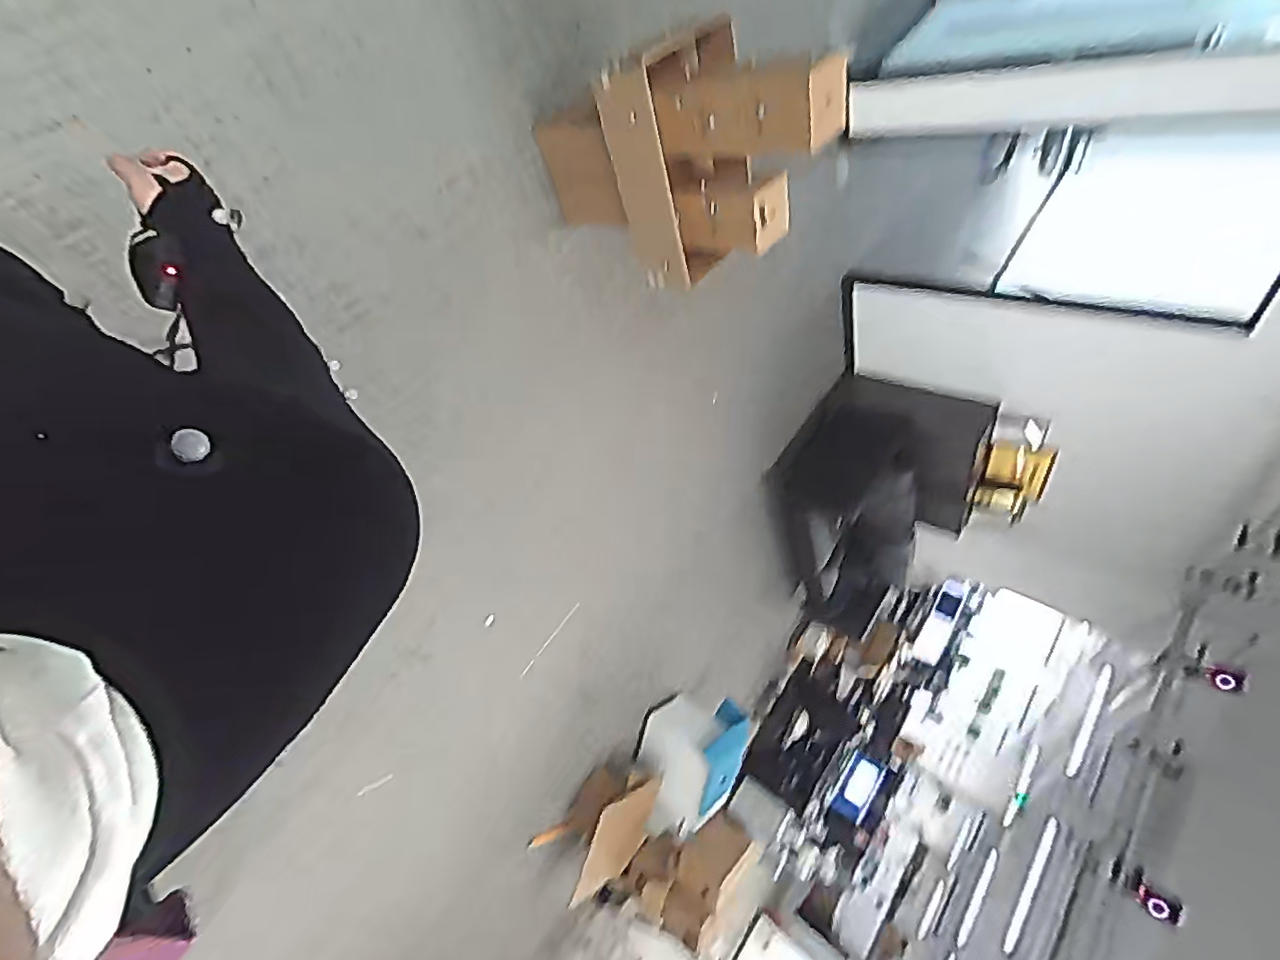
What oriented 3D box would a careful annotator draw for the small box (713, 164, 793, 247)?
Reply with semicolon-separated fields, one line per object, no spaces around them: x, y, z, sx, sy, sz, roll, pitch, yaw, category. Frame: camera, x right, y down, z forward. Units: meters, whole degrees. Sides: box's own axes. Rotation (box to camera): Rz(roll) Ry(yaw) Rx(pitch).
0.326;-0.804;1.584;0.179;0.176;0.168;-46;140;-25;small box

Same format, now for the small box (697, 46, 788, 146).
0.272;-0.992;1.403;0.179;0.176;0.168;-47;140;-23;small box

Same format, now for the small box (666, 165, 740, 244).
0.205;-0.861;1.679;0.179;0.176;0.168;-45;140;-24;small box

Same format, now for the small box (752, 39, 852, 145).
0.392;-0.934;1.309;0.179;0.176;0.168;-46;140;-24;small box
